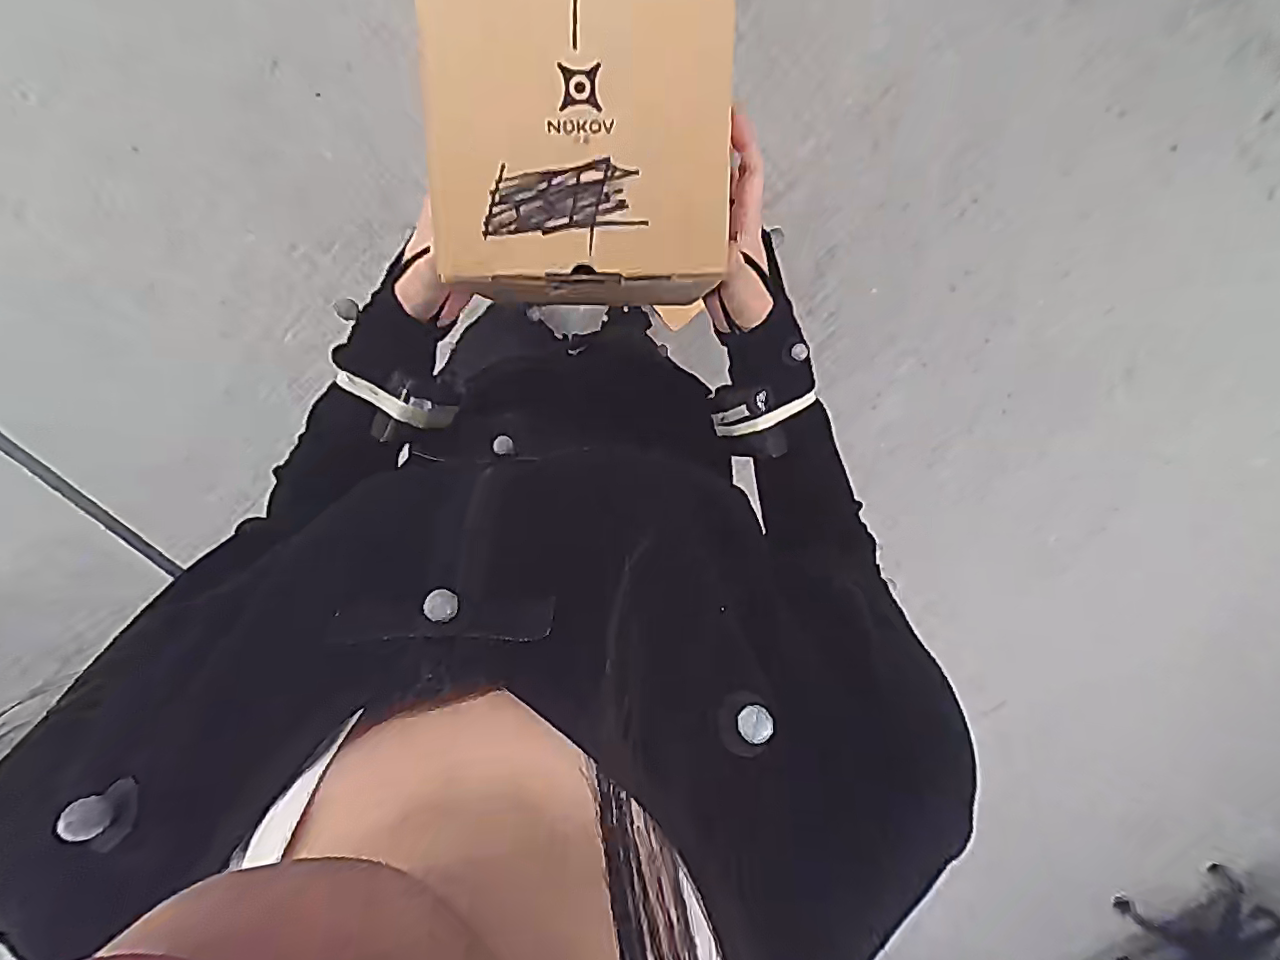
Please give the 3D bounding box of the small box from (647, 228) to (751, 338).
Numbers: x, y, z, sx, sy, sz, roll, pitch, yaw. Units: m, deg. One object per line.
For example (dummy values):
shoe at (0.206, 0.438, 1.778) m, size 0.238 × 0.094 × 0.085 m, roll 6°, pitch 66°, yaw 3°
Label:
small box at (0.068, -0.376, 0.958) m, size 0.179 × 0.176 × 0.168 m, roll -38°, pitch 106°, yaw 13°

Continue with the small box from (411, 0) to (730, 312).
small box at (-0.036, -0.209, 0.366) m, size 0.168 × 0.176 × 0.179 m, roll -1°, pitch 103°, yaw -2°
